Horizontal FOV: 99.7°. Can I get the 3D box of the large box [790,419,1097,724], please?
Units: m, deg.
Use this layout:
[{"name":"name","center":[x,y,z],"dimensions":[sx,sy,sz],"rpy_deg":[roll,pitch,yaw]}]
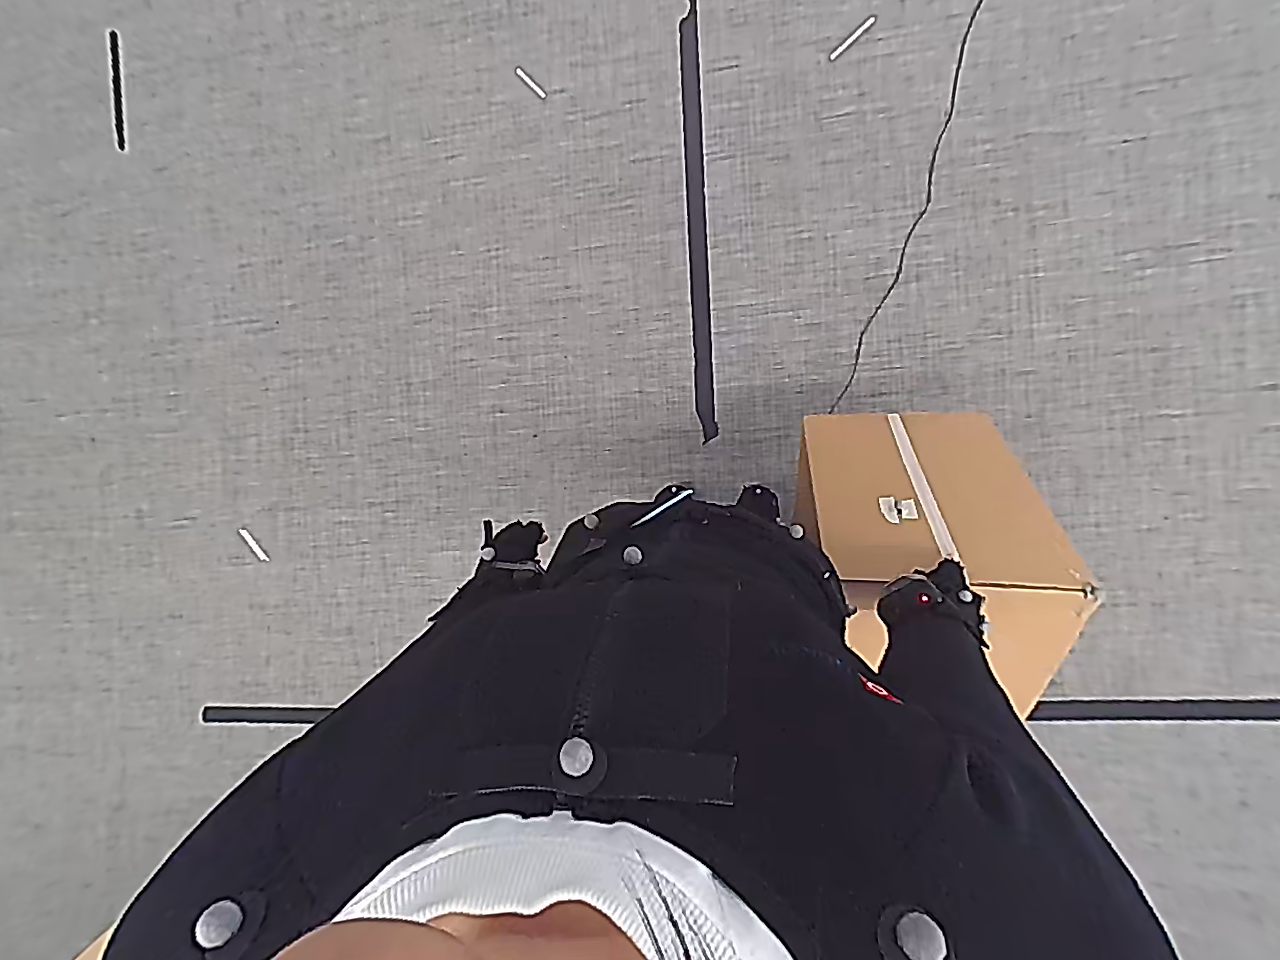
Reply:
[{"name":"large box","center":[0.438,0.134,0.914],"dimensions":[0.320,0.408,0.320],"rpy_deg":[0,129,11]}]
